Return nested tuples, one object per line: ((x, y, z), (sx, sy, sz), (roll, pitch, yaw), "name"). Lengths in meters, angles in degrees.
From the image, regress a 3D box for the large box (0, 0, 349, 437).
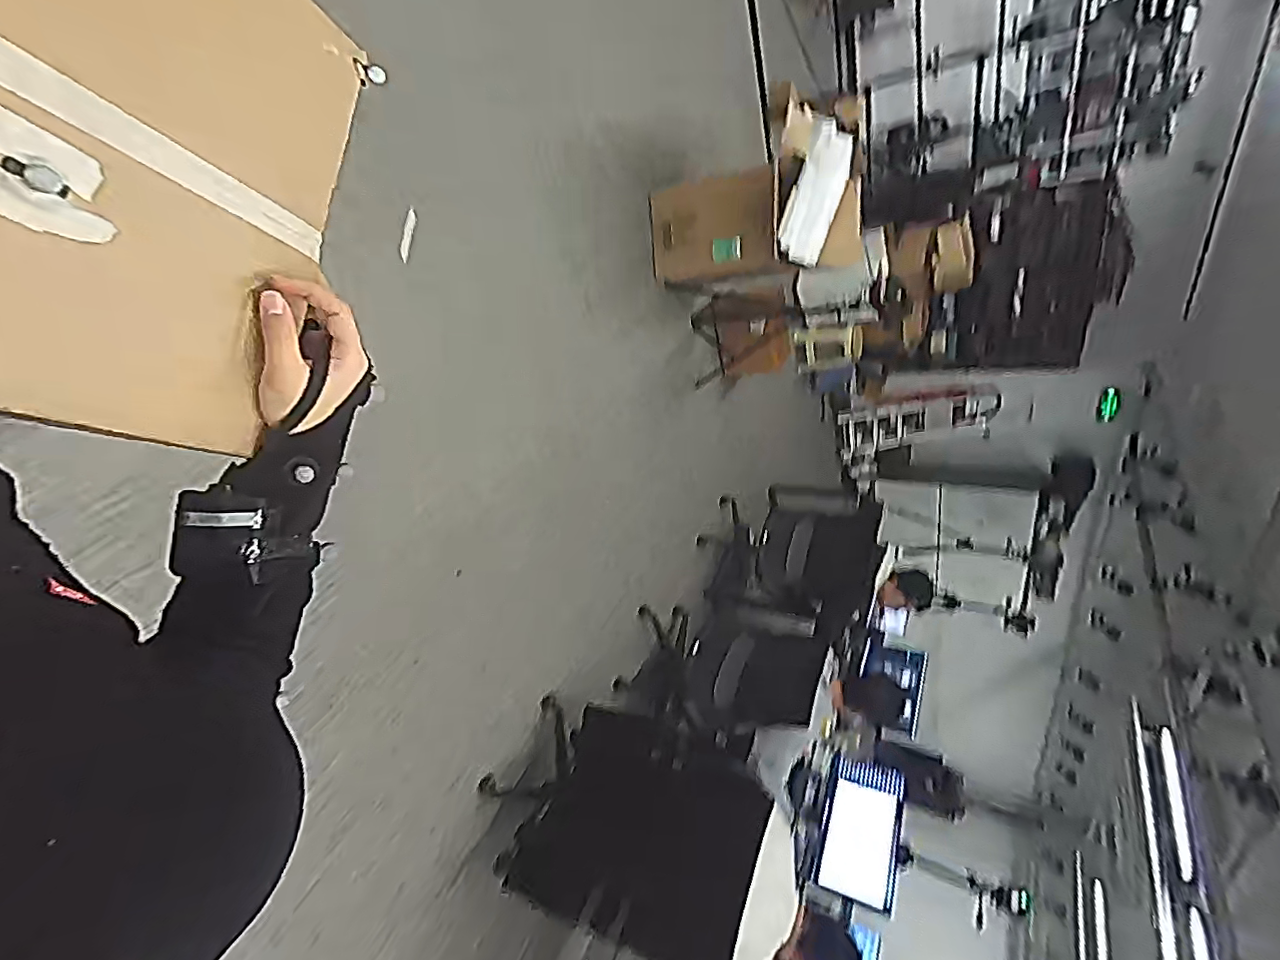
((-0.456, -0.221, 0.278), (0.408, 0.320, 0.320), (20, 79, -65), "large box")
